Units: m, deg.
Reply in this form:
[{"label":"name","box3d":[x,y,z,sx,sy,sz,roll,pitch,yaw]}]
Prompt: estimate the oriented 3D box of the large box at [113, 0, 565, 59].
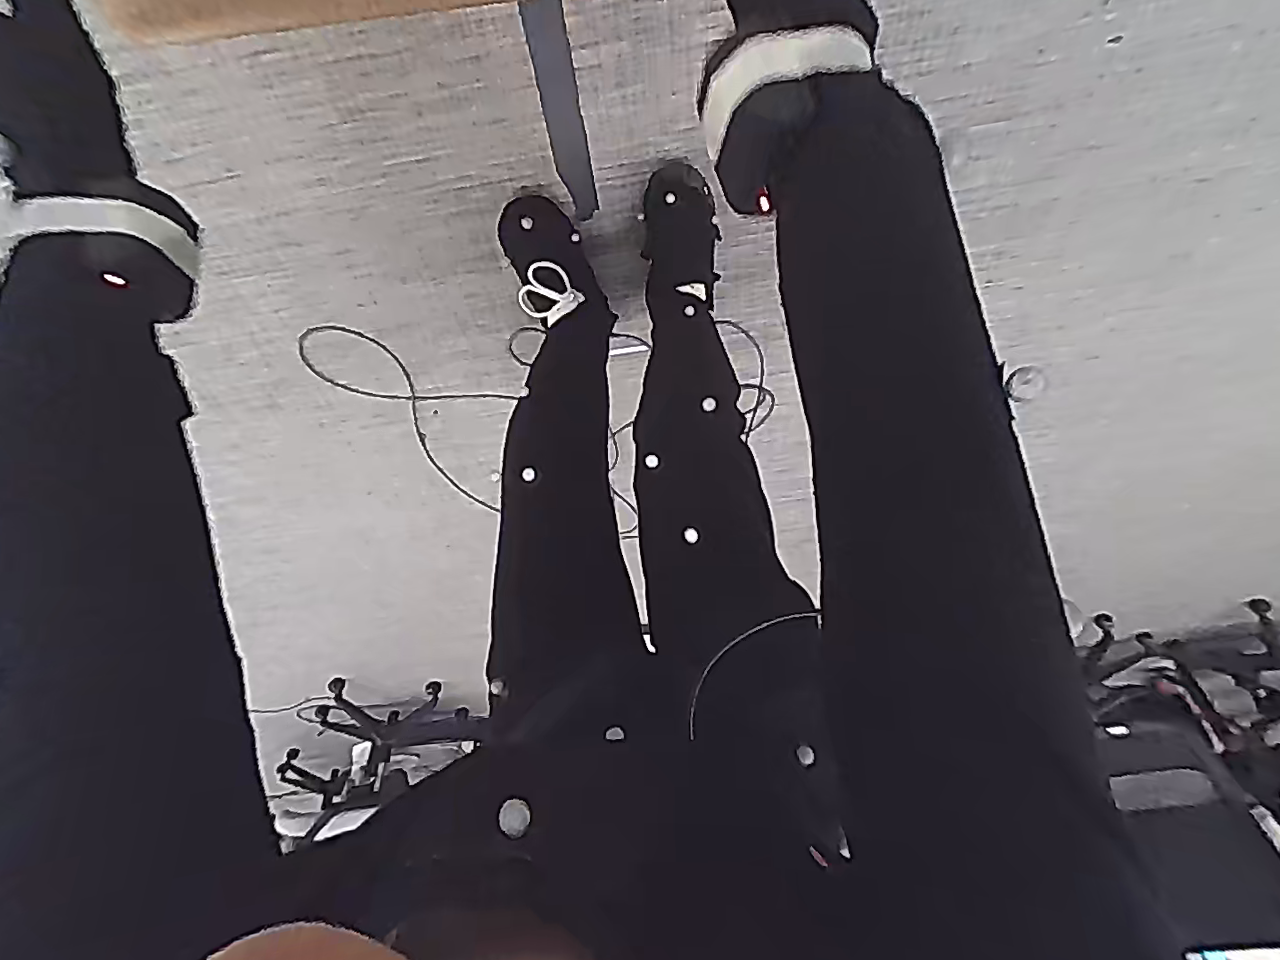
[{"label":"large box","box3d":[-0.197,-0.551,0.374,0.408,0.320,0.320,-6,141,2]}]
